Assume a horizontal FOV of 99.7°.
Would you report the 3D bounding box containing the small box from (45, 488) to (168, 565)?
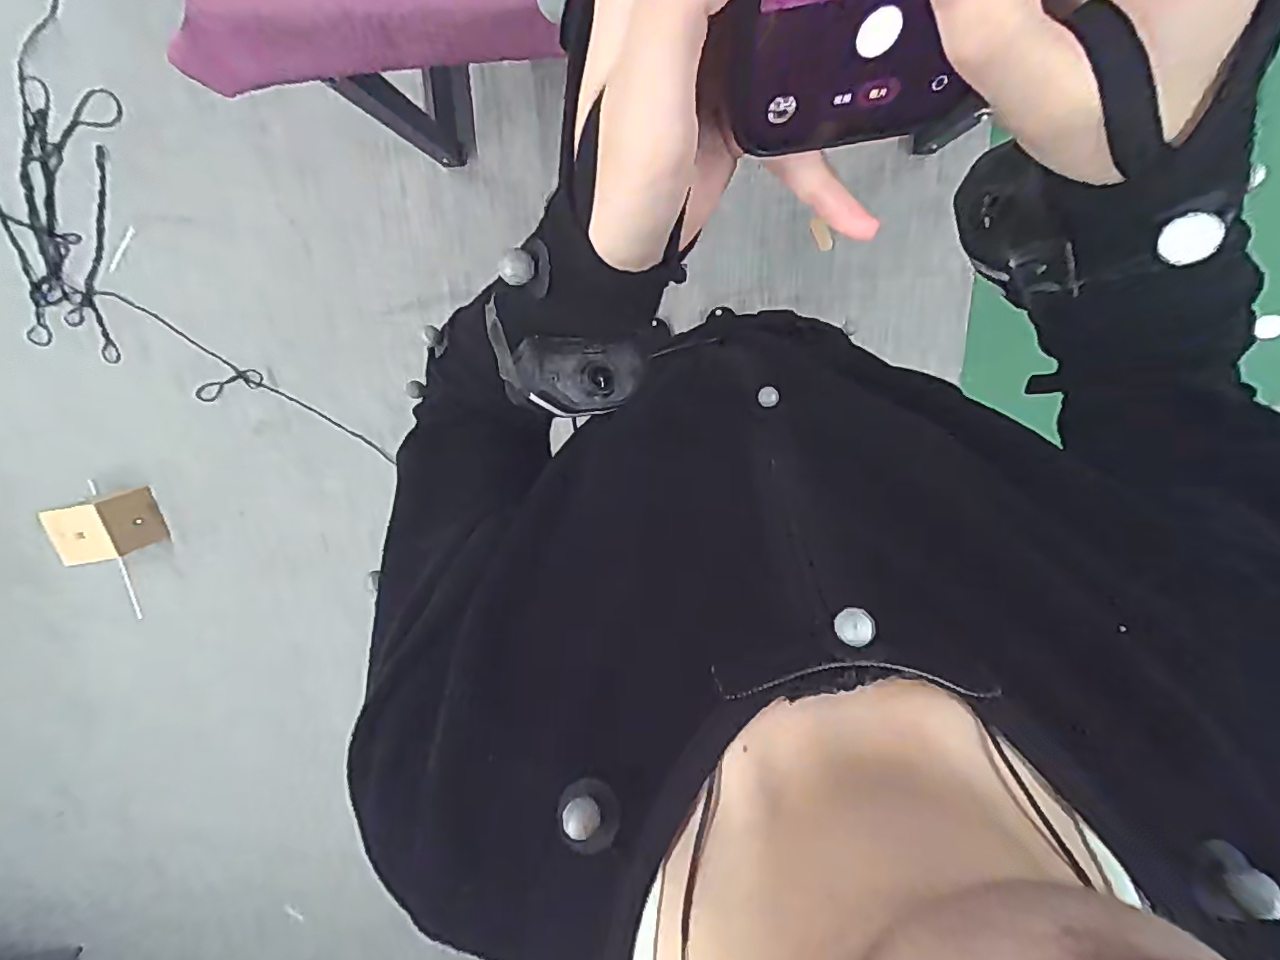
[{"bbox_3d":[-1.539,0.130,1.578,0.179,0.176,0.168,-8,105,6],"label":"small box"}]
